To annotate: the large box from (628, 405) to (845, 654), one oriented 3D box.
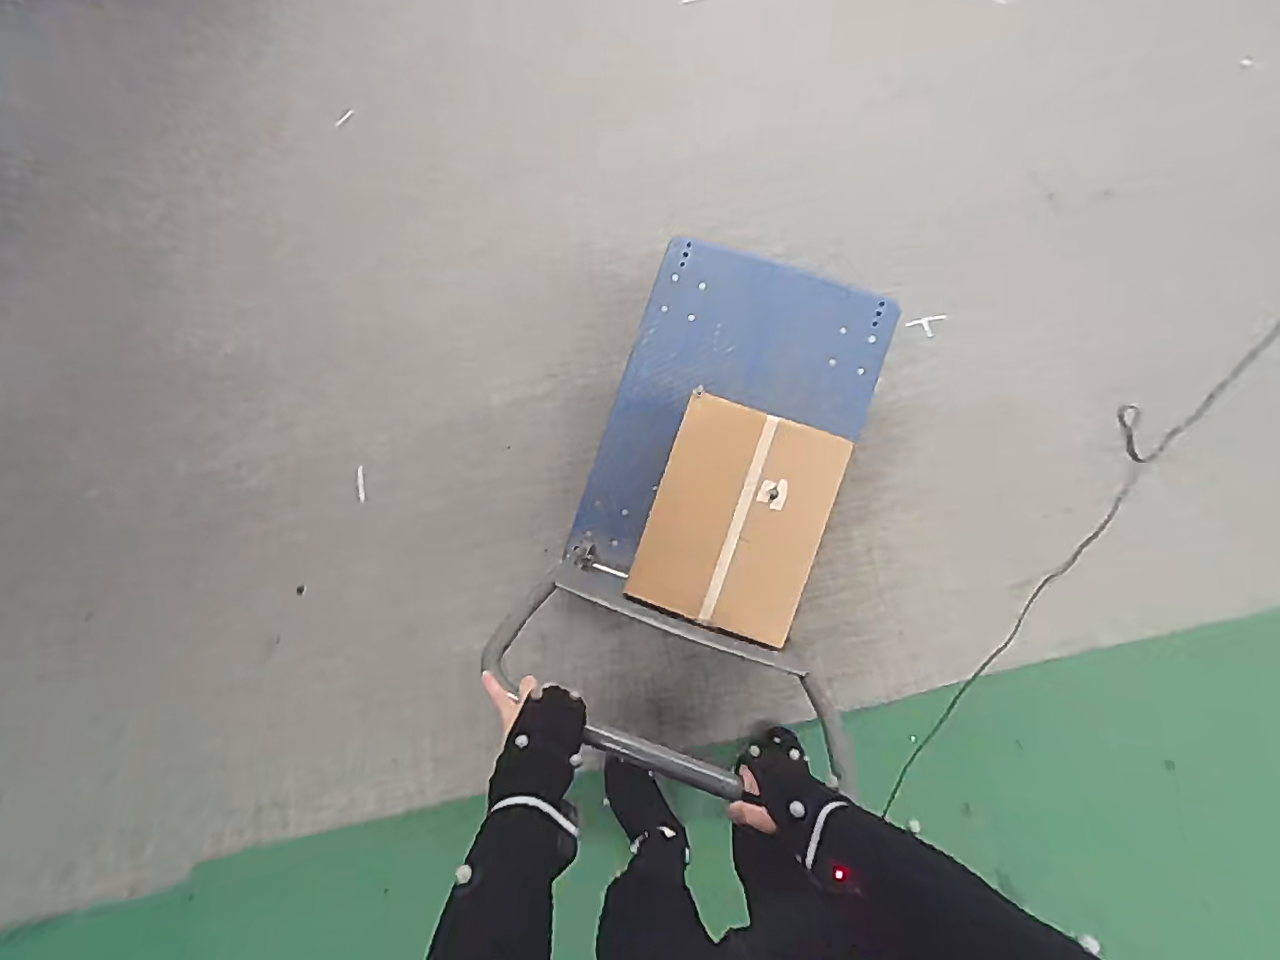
[{"bbox_3d":[0.191,0.099,1.168,0.320,0.320,0.408,20,89,4],"label":"large box"}]
